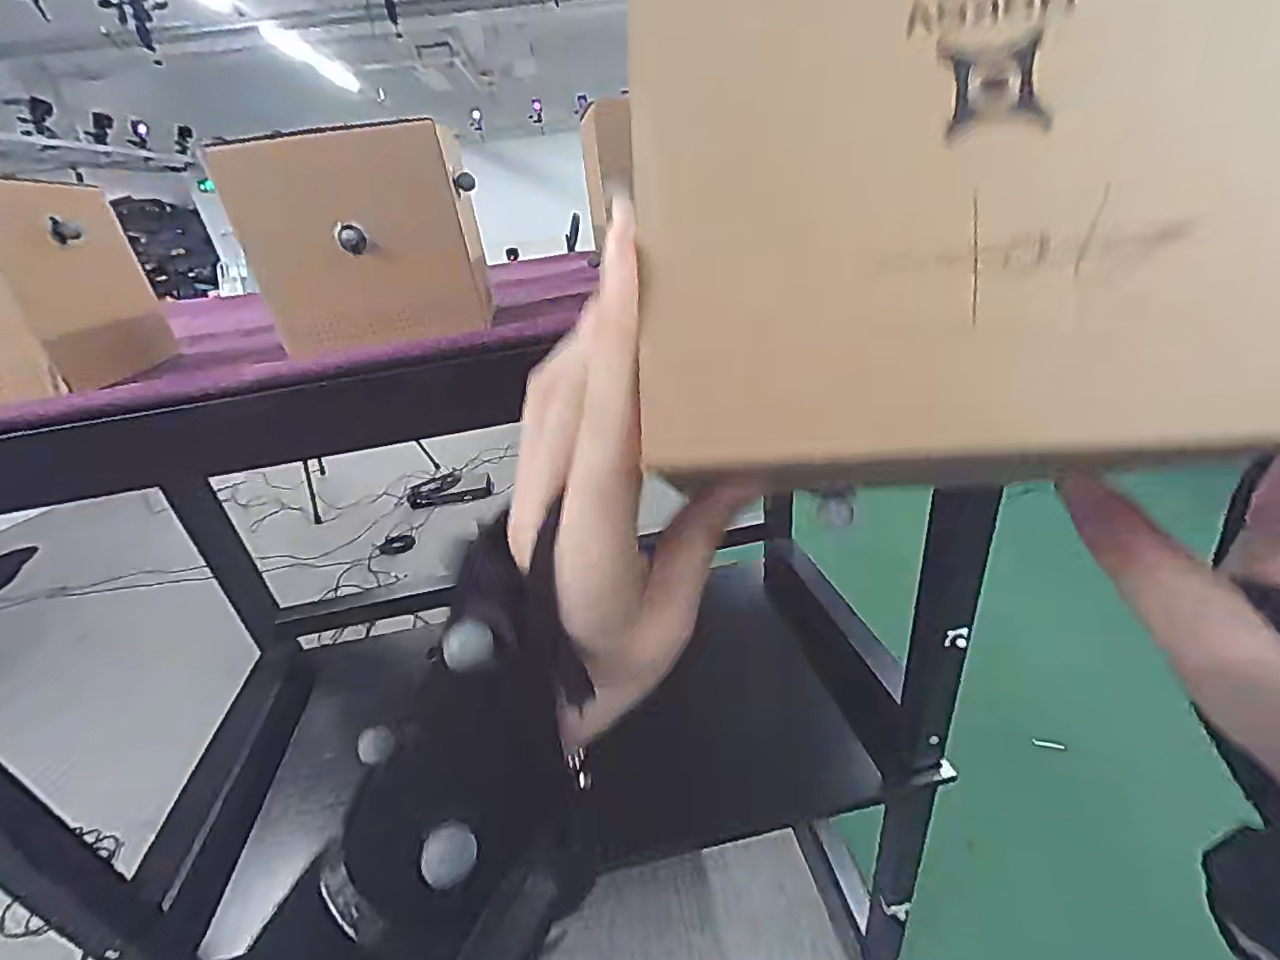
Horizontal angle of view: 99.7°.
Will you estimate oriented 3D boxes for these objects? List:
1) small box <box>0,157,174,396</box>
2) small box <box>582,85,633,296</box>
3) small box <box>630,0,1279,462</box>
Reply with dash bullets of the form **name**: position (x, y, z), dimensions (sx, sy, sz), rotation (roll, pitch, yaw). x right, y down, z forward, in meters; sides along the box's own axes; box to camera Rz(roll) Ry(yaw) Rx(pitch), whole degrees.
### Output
- **small box**: position (-0.561, -0.171, 0.468), dimensions (0.168, 0.176, 0.179), rotation (-11, 28, -9)
- **small box**: position (0.040, -0.289, 0.541), dimensions (0.168, 0.176, 0.179), rotation (-10, 30, -4)
- **small box**: position (0.088, -0.104, 0.201), dimensions (0.168, 0.179, 0.176), rotation (-2, -3, 8)
